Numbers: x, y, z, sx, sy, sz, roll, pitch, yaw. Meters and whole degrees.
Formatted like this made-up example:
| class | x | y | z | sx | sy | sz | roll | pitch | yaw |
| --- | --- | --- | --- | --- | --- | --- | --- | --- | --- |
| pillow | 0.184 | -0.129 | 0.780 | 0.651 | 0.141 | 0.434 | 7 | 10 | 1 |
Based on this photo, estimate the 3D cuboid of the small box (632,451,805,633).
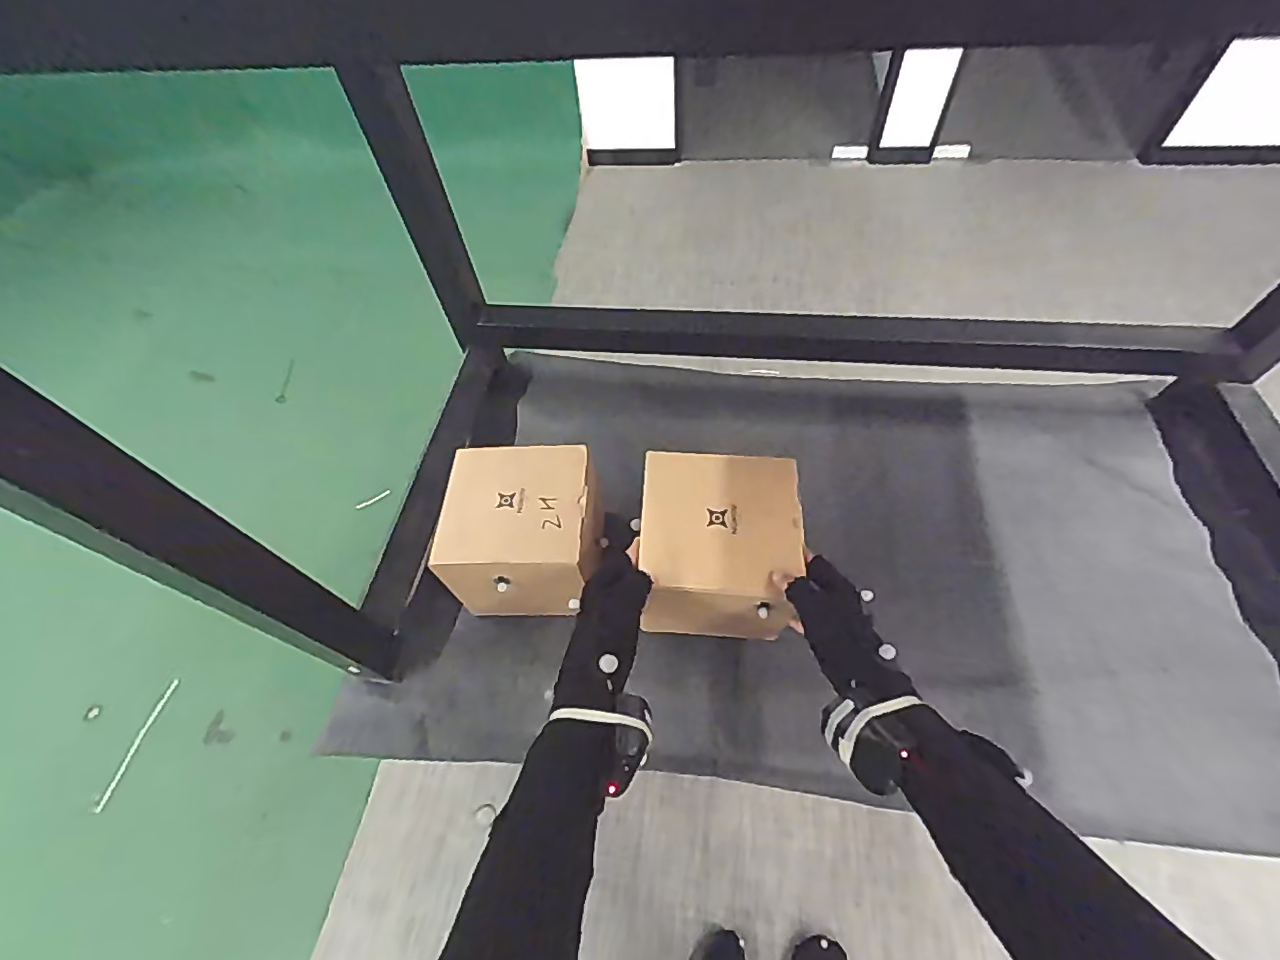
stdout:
| class | x | y | z | sx | sy | sz | roll | pitch | yaw |
| --- | --- | --- | --- | --- | --- | --- | --- | --- | --- |
| small box | 0.087 | 0.081 | 0.650 | 0.179 | 0.176 | 0.168 | 3 | 61 | 3 |
